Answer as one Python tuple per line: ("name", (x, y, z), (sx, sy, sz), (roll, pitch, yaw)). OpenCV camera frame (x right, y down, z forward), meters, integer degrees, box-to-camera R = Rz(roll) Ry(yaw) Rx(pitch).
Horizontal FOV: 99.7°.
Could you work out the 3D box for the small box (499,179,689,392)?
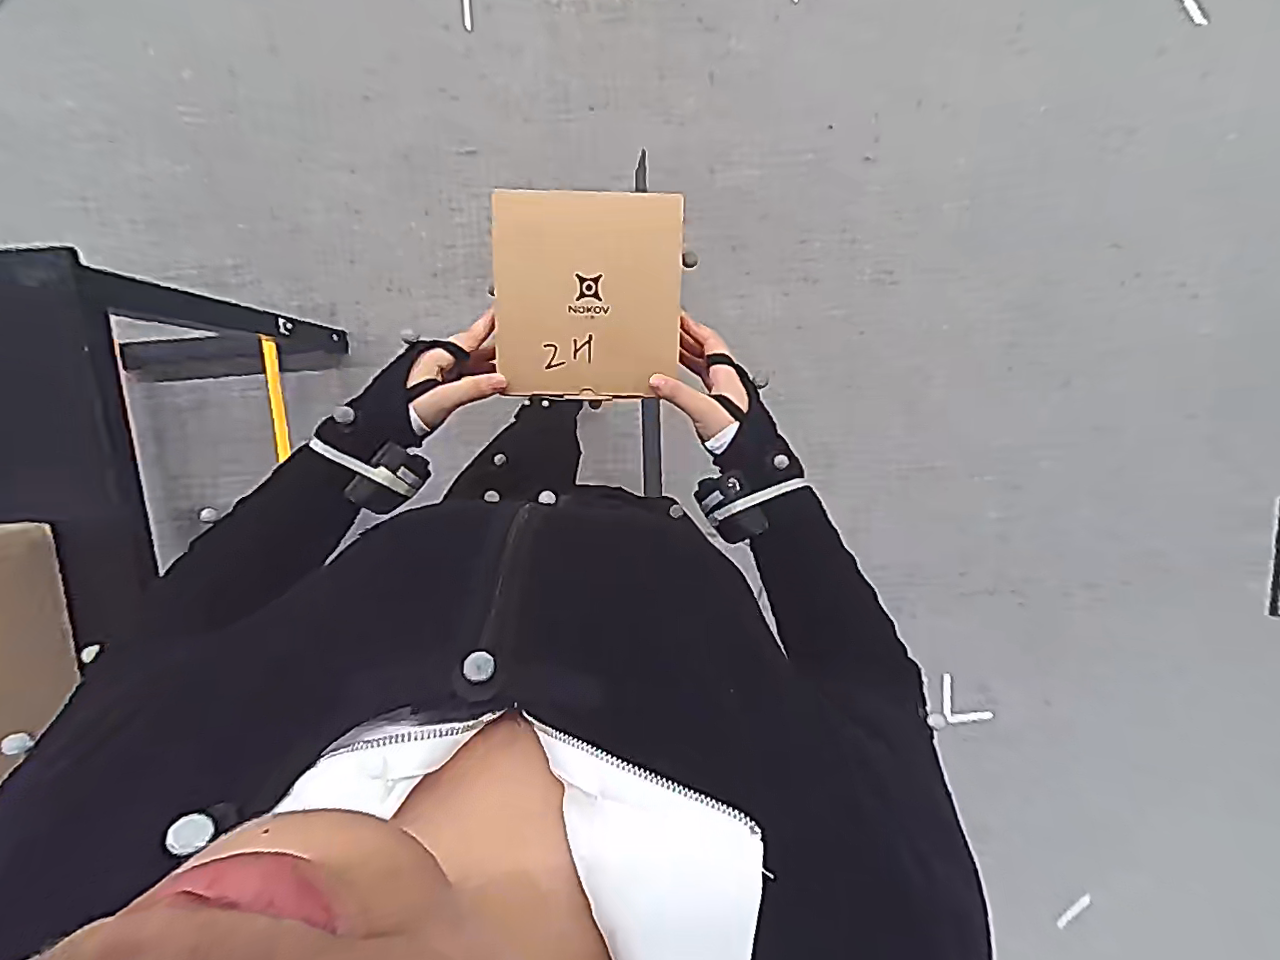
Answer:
("small box", (-0.043, -0.182, 0.553), (0.168, 0.176, 0.179), (1, 101, 0))
